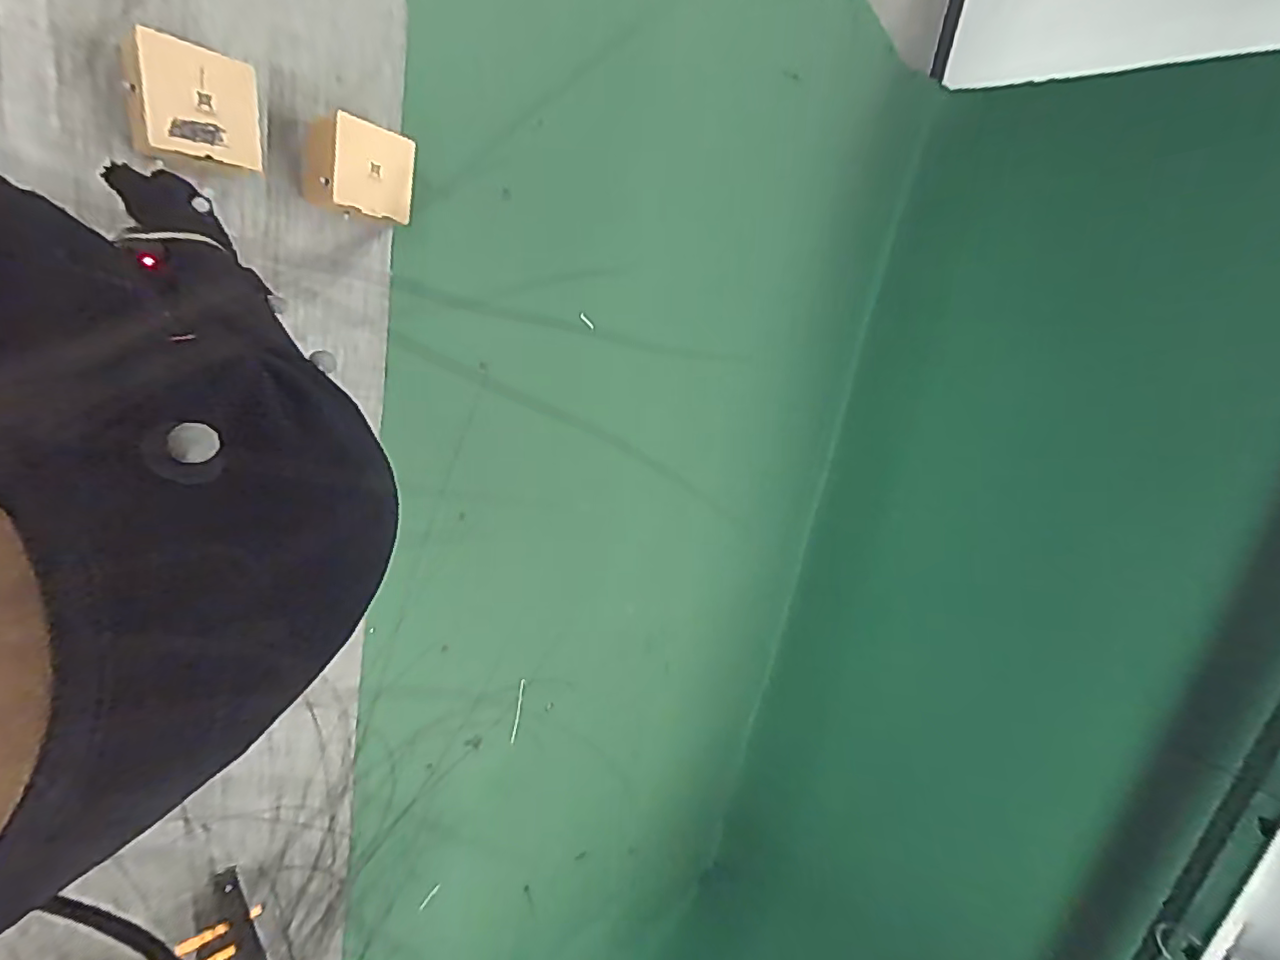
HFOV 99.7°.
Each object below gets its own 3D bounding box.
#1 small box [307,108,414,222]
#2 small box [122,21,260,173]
[{"bbox_3d":[-0.629,-0.694,1.214,0.168,0.176,0.179,-5,112,-48],"label":"small box"},{"bbox_3d":[-0.820,-0.682,0.991,0.168,0.176,0.179,-11,115,-47],"label":"small box"}]
